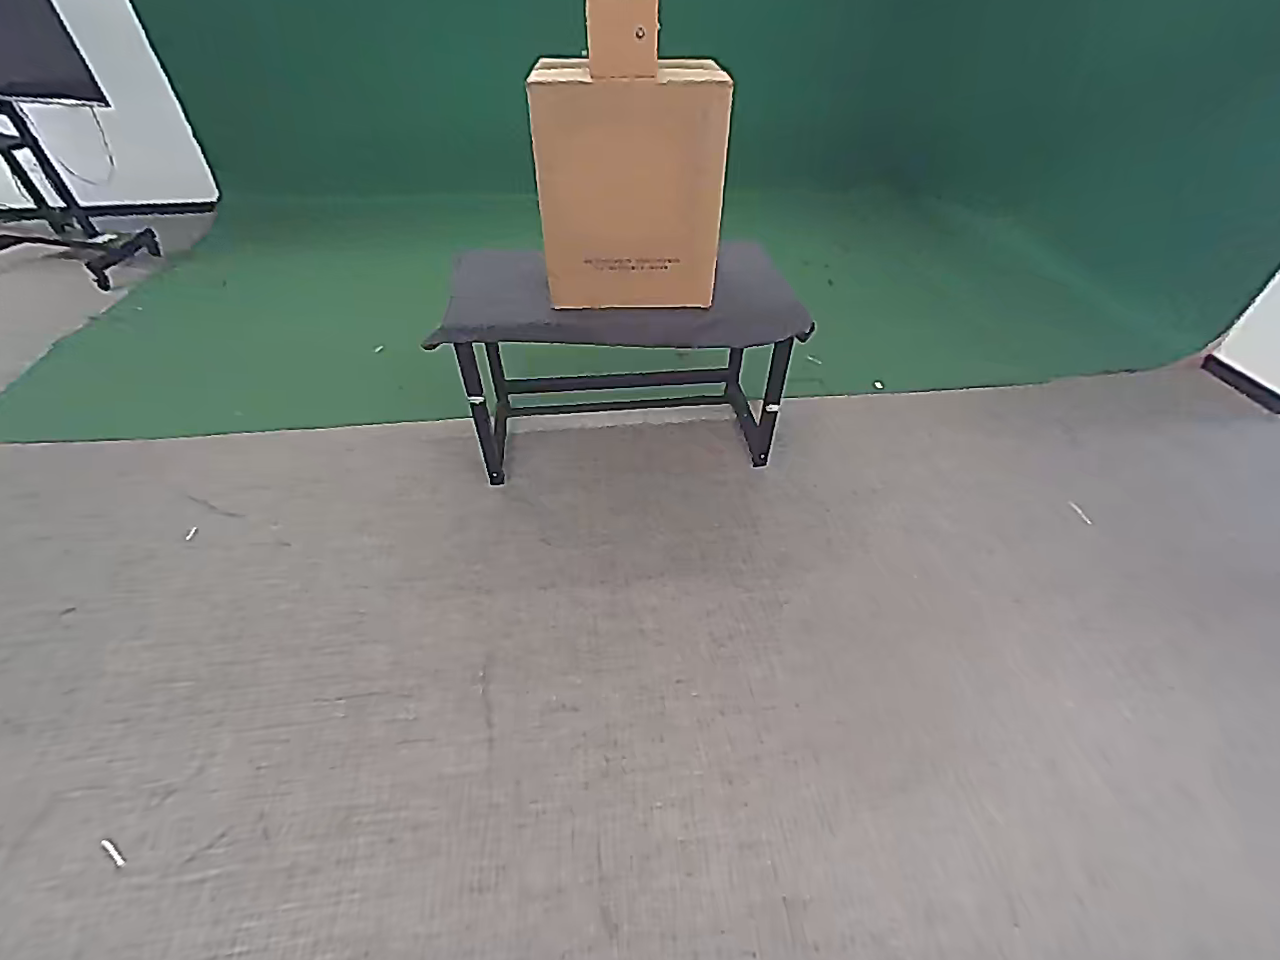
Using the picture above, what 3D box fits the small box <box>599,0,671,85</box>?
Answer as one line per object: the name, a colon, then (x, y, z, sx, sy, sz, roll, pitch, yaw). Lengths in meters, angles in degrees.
small box: (-0.016, -1.148, 1.406, 0.179, 0.176, 0.168, -3, 45, -1)
